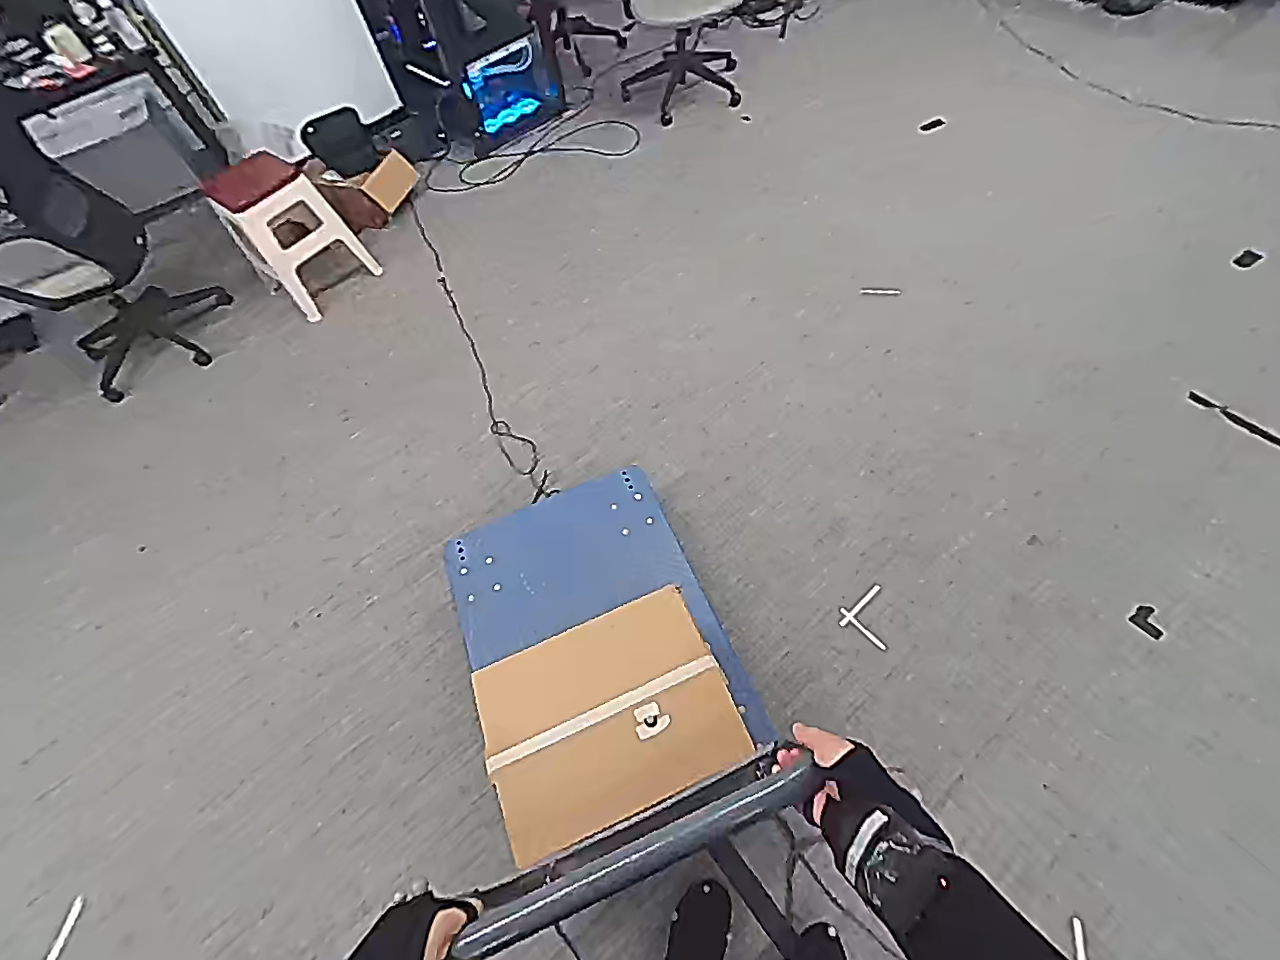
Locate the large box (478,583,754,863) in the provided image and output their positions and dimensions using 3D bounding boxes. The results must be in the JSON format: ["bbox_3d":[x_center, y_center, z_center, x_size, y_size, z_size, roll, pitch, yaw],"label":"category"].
[{"bbox_3d":[-0.039,0.465,1.042,0.408,0.320,0.320,-23,60,-7],"label":"large box"}]
